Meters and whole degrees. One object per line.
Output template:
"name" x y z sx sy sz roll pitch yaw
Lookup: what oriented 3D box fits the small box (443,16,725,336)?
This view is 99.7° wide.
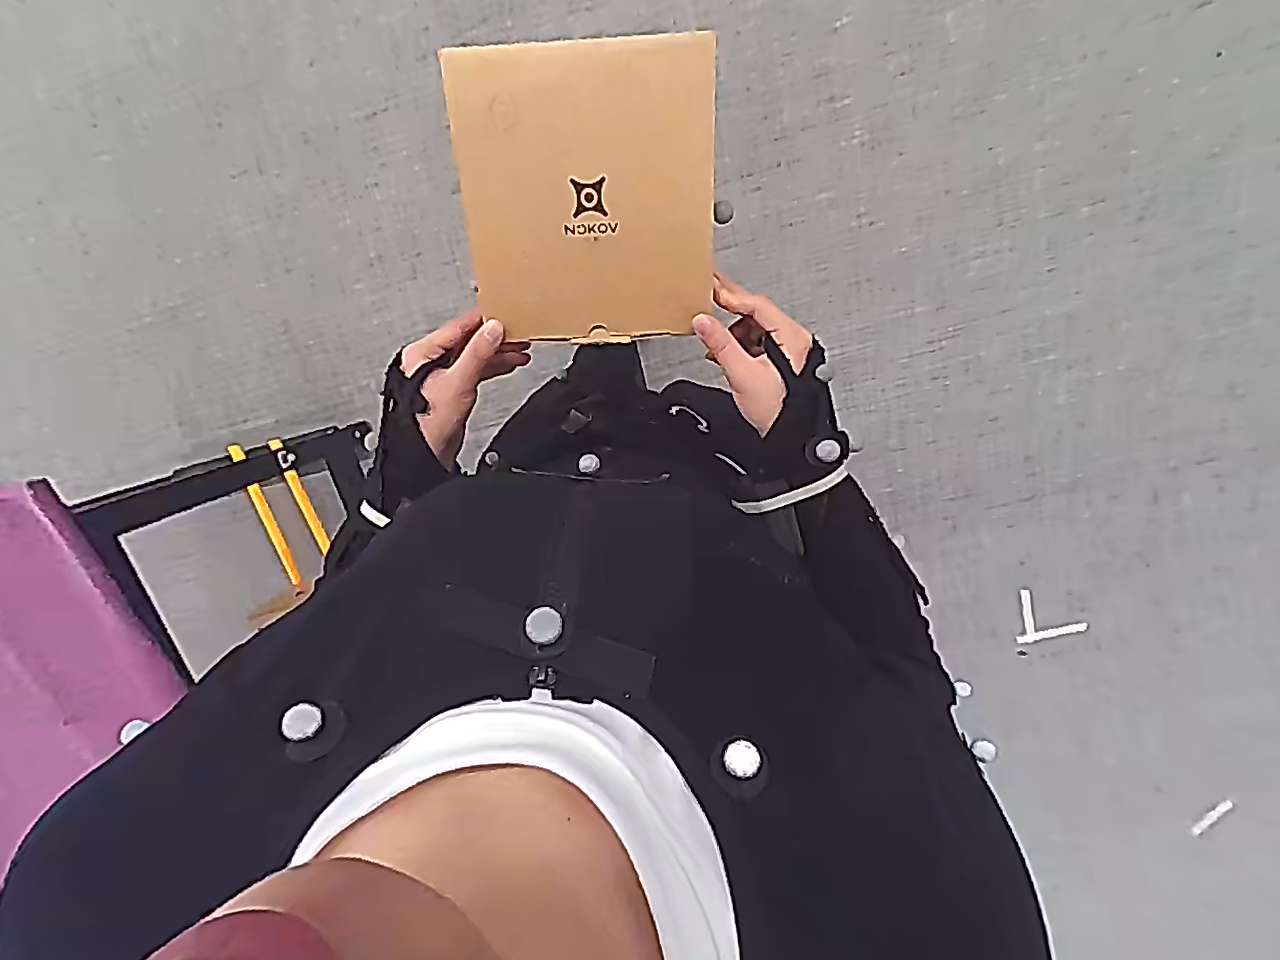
"small box" -0.030 -0.216 0.416 0.168 0.176 0.179 -2 116 2

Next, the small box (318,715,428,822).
"small box" -0.693 0.754 1.424 0.179 0.176 0.168 -14 104 4

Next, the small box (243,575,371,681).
"small box" -0.802 0.355 1.321 0.179 0.176 0.168 -16 105 4
